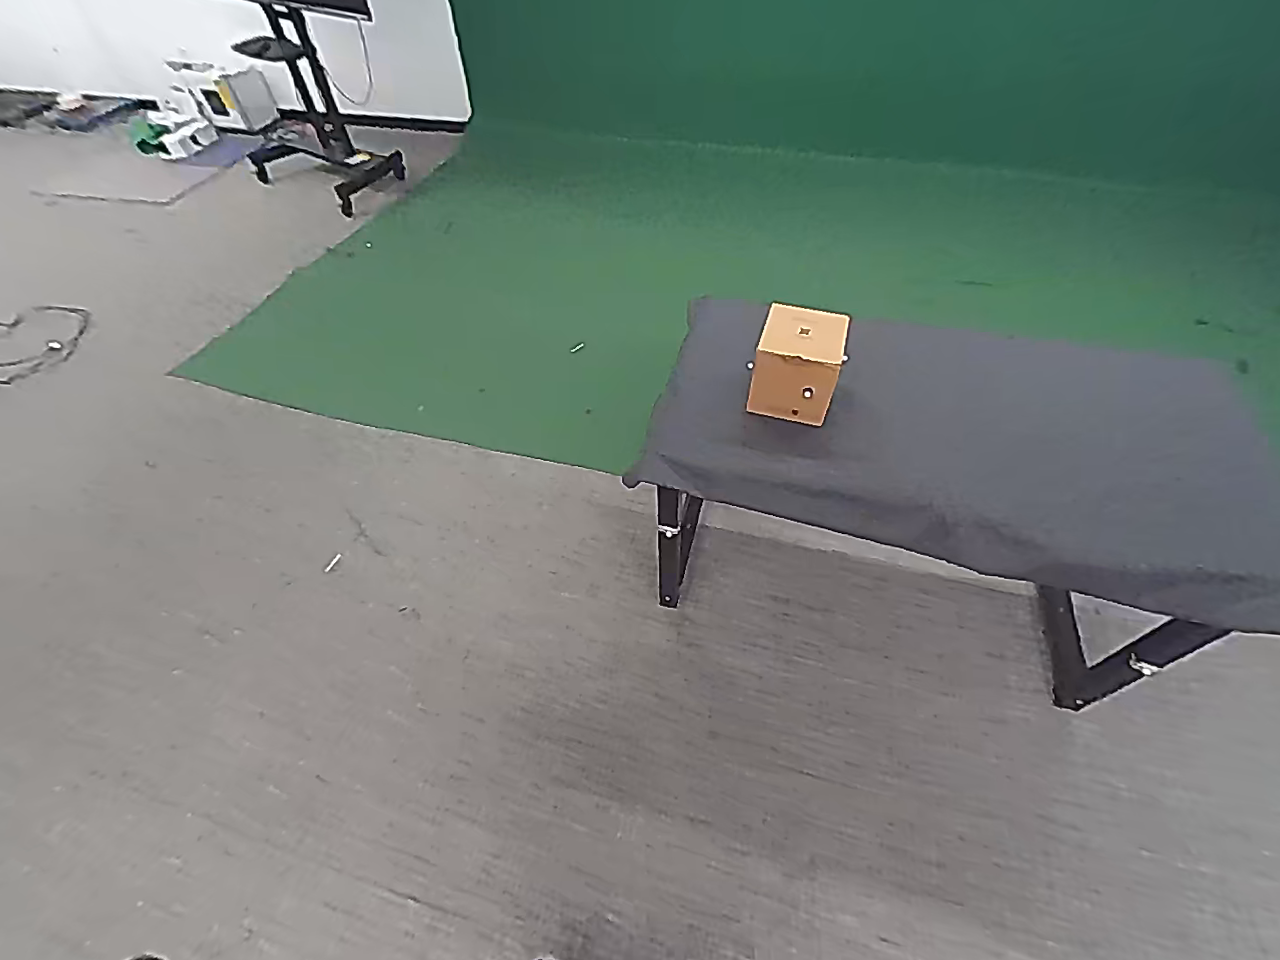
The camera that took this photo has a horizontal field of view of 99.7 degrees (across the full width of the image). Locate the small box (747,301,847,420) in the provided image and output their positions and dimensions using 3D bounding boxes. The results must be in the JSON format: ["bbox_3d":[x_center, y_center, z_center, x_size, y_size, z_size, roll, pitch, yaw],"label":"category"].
[{"bbox_3d":[0.335,-0.255,1.168,0.168,0.176,0.179,15,52,11],"label":"small box"}]
